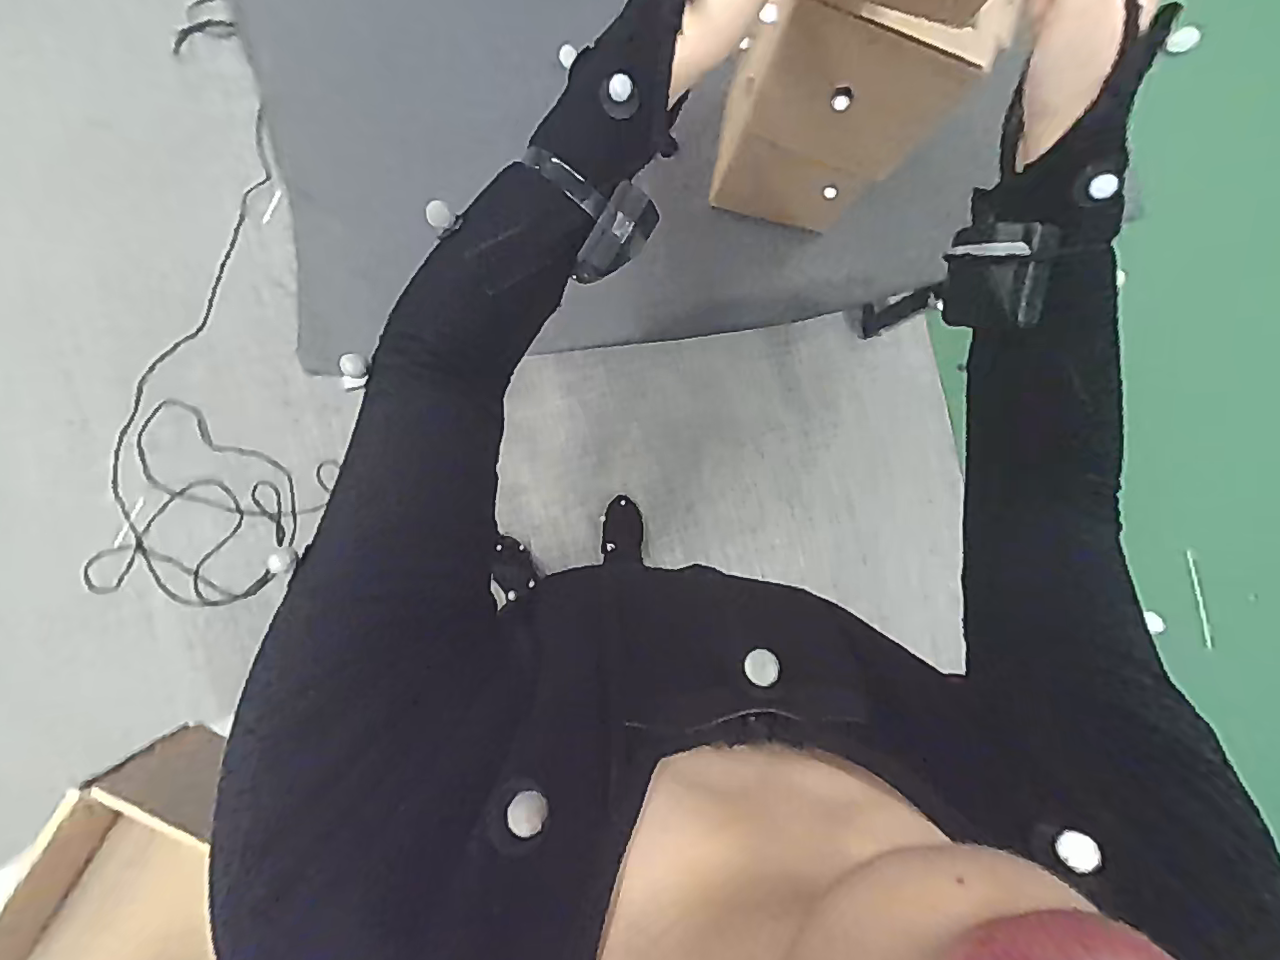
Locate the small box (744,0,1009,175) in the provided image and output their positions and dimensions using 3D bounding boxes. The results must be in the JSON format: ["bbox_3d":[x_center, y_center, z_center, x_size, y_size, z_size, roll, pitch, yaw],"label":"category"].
[{"bbox_3d":[0.224,-0.436,0.526,0.179,0.176,0.168,18,87,-4],"label":"small box"}]
